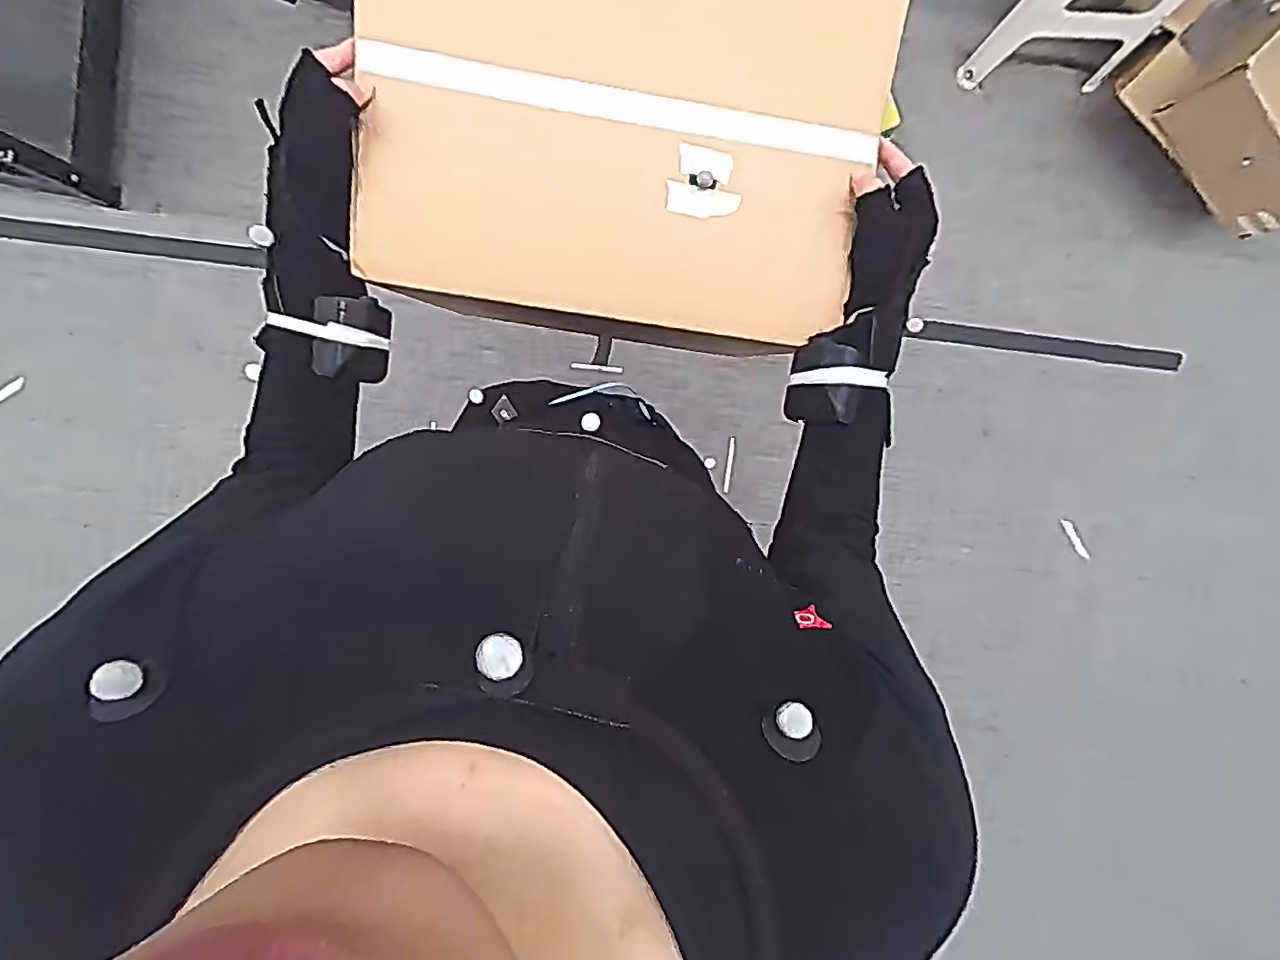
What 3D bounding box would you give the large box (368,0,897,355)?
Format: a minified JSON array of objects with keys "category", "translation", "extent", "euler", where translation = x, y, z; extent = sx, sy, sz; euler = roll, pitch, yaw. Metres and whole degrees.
[{"category":"large box","translation":[-0.021,-0.316,0.575],"extent":[0.408,0.320,0.320],"euler":[7,102,-6]}]
